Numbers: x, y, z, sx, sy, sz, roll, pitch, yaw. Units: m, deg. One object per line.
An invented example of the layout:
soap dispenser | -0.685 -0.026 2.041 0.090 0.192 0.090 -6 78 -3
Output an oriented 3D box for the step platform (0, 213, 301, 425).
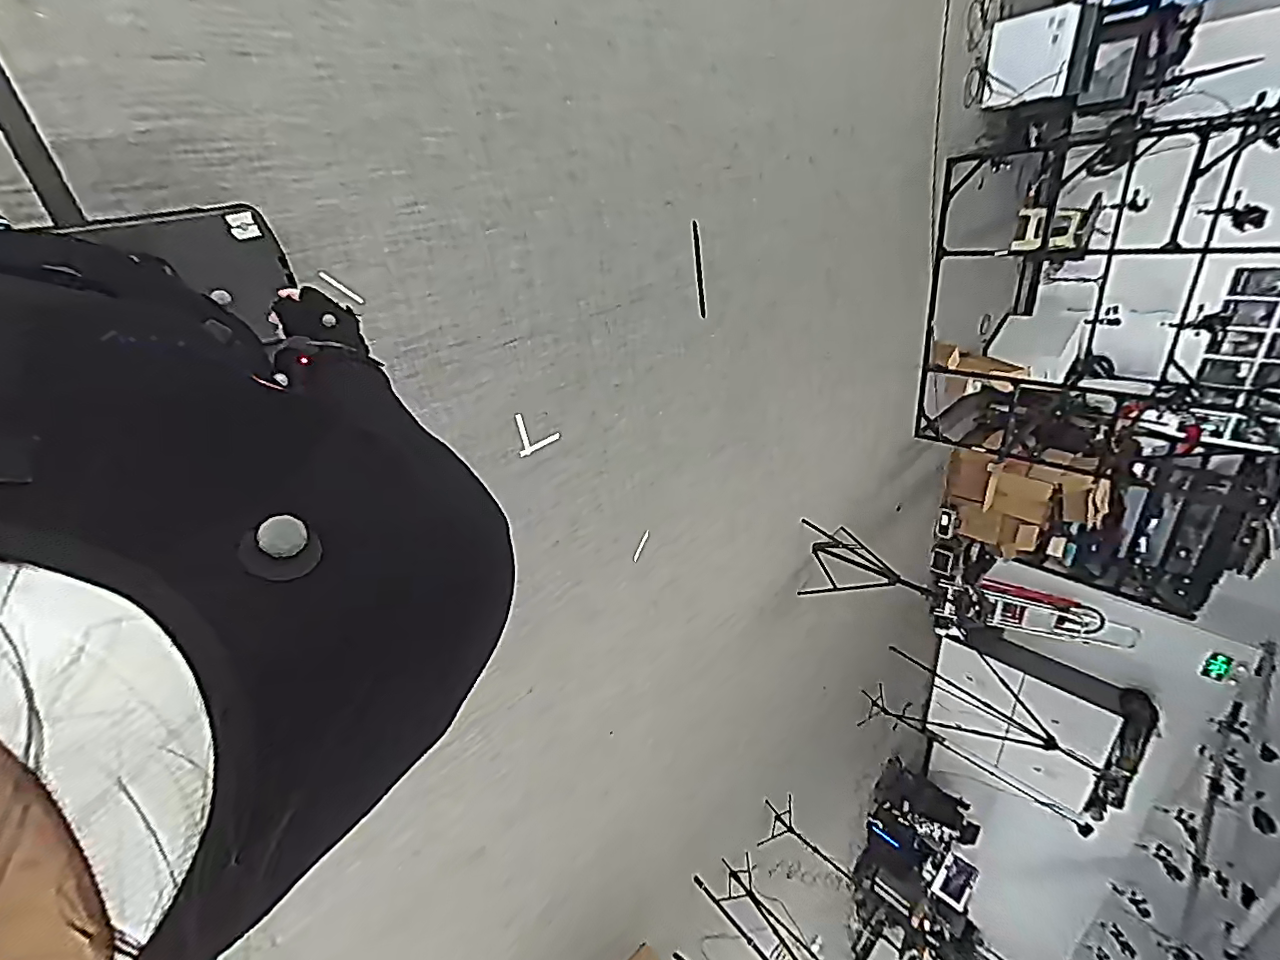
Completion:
step platform | -1.082 -0.329 1.076 0.684 0.204 0.286 -31 127 -33
